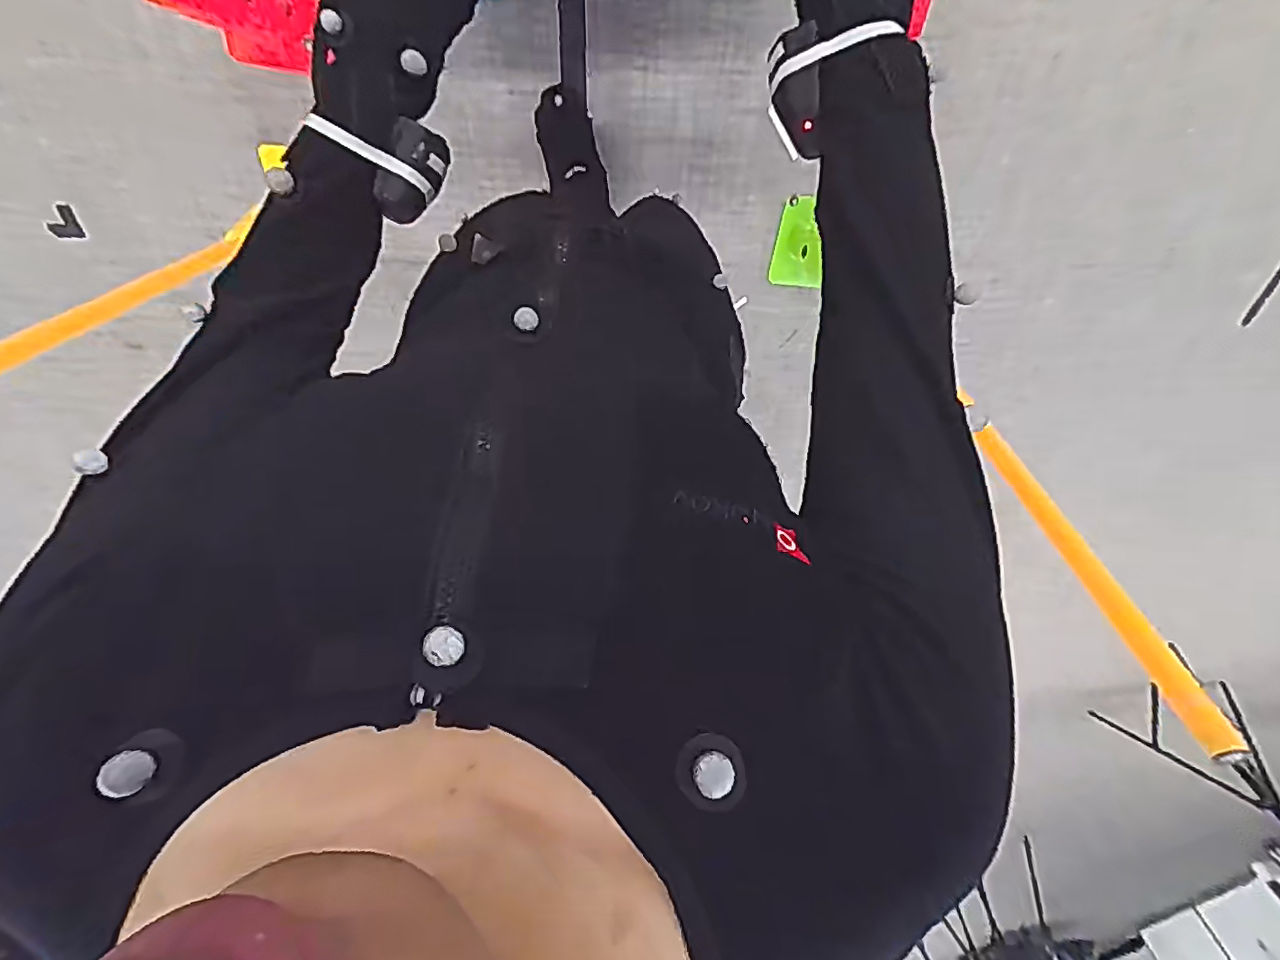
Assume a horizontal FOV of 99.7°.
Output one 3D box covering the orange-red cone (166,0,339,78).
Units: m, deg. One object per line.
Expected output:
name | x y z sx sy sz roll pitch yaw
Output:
orange-red cone | -0.655 -0.770 0.855 0.198 0.360 0.199 5 126 -9

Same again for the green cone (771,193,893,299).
green cone | 0.441 -0.469 1.165 0.202 0.368 0.200 2 128 -7

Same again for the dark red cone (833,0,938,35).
dark red cone | 0.477 -0.839 0.854 0.201 0.394 0.202 -2 129 -5
